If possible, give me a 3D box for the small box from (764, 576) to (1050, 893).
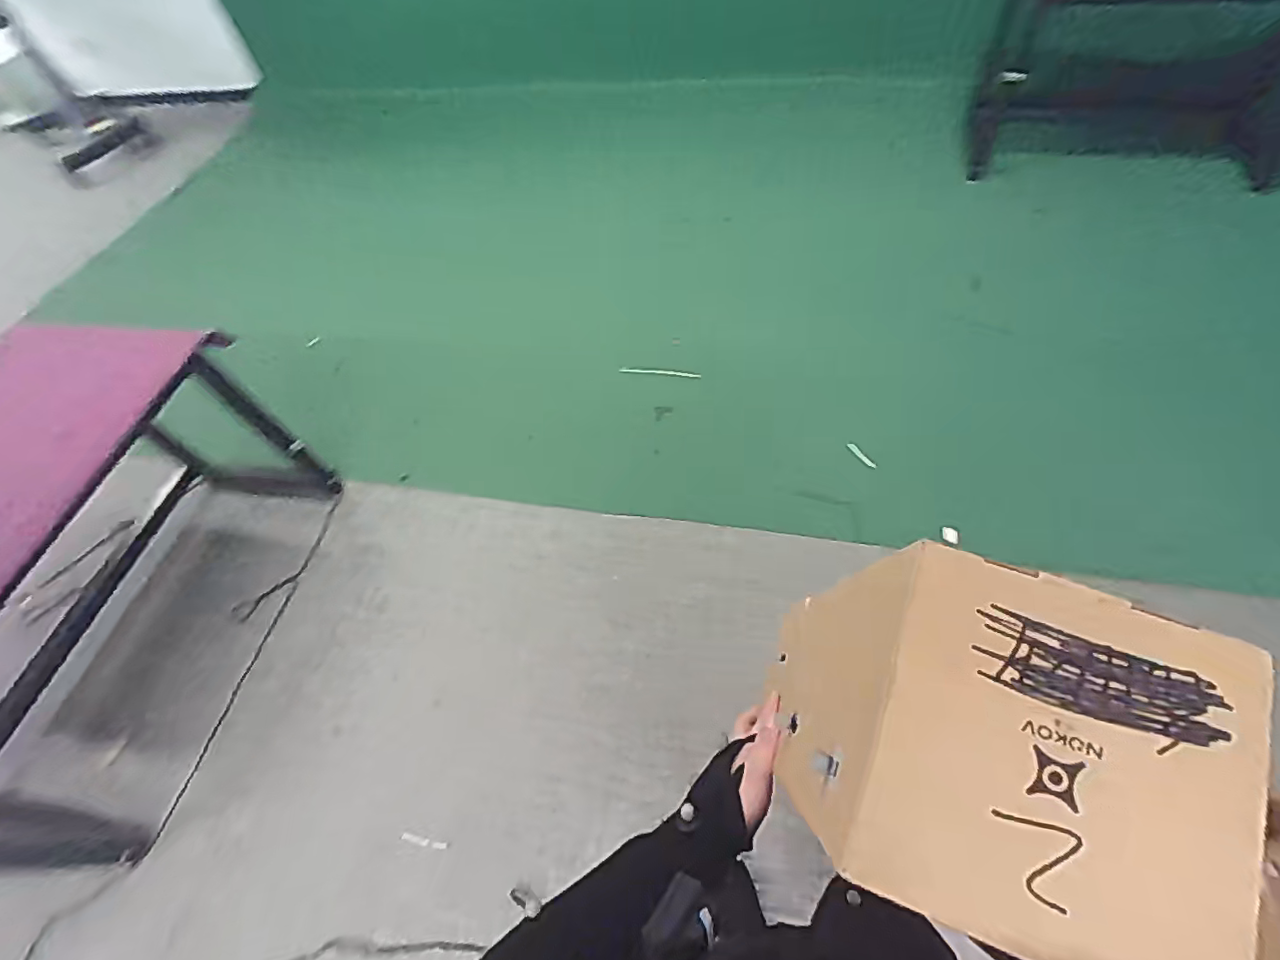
[{"bbox_3d":[0.216,0.206,0.482,0.168,0.176,0.179,18,74,11],"label":"small box"}]
